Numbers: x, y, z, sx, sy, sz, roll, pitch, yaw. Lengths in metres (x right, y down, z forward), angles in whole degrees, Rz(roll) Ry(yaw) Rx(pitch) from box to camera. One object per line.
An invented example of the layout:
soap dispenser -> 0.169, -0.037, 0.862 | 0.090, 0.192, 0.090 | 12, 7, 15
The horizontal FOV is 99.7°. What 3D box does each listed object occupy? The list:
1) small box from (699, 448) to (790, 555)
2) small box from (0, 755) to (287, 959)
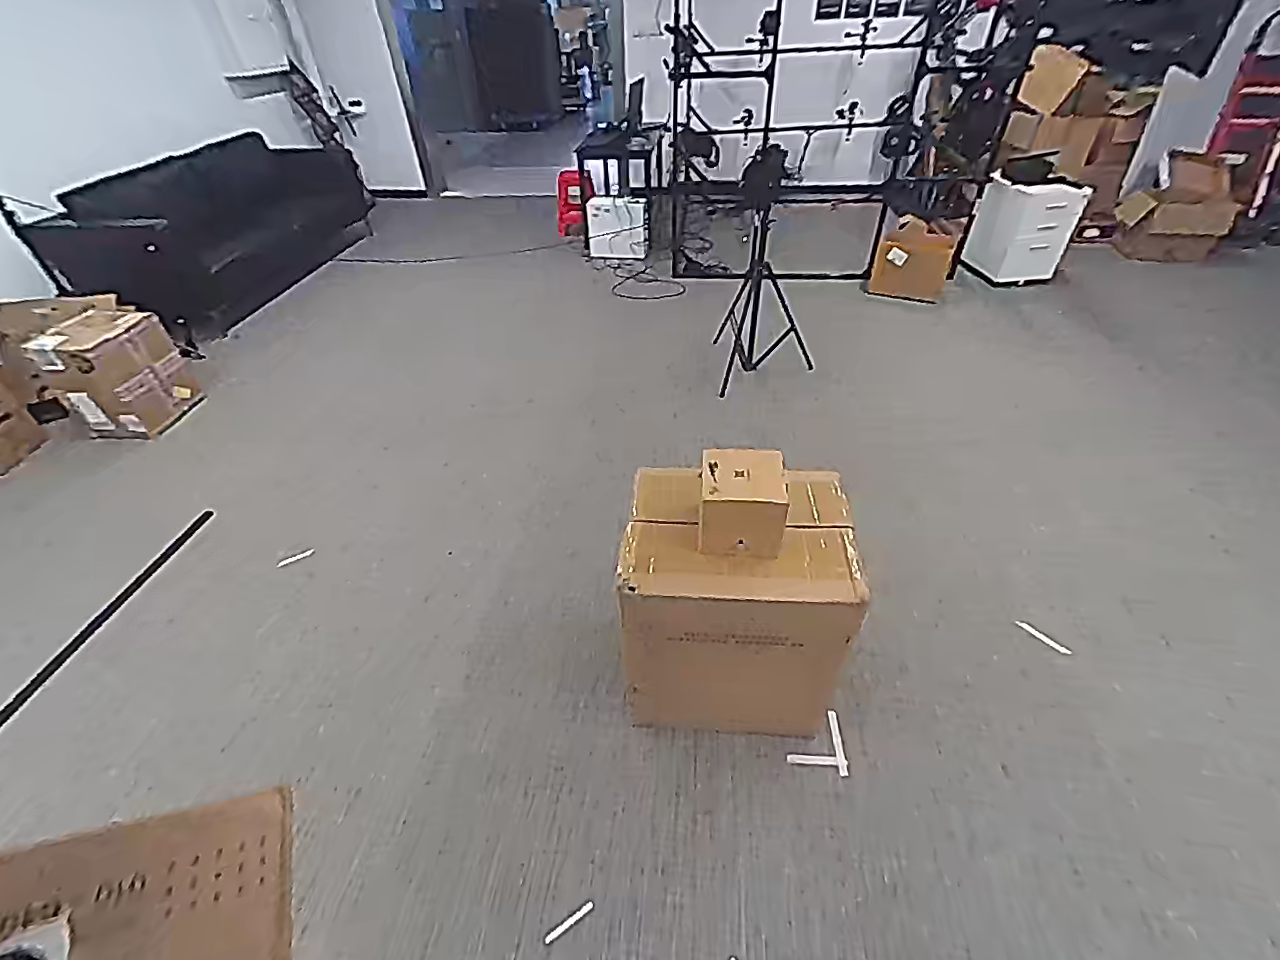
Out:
small box -> 0.223, 0.049, 1.189 | 0.179, 0.176, 0.168 | 2, 42, 6
small box -> -0.232, 0.212, 0.190 | 0.168, 0.179, 0.176 | 3, 60, -40
